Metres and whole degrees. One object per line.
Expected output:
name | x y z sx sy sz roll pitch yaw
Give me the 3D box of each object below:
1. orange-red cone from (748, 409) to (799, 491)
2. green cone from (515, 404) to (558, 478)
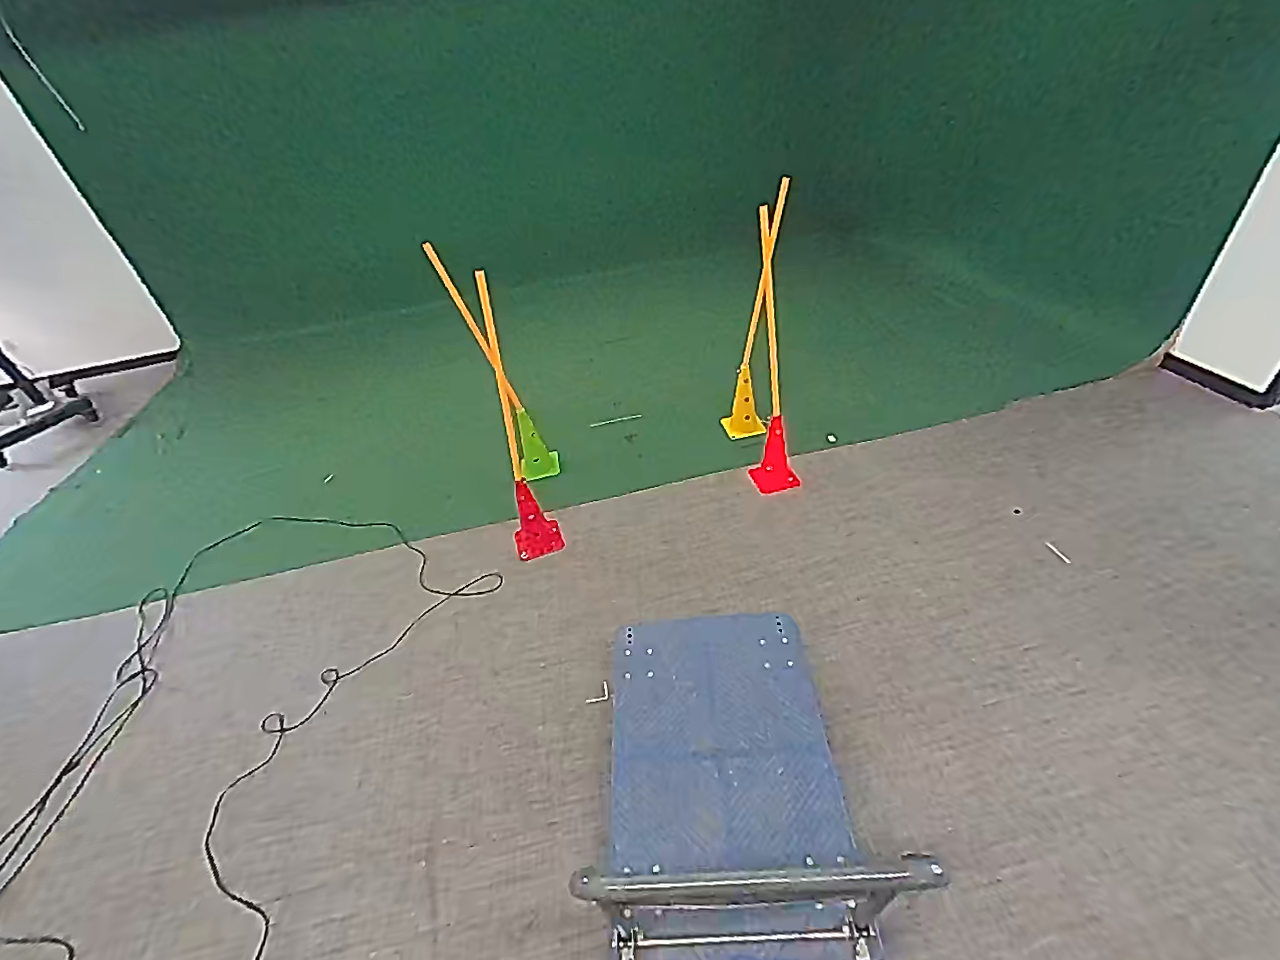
orange-red cone | 0.600 -0.154 2.414 0.198 0.360 0.199 -12 37 -5
green cone | -0.553 -0.216 2.703 0.200 0.368 0.202 -13 38 -4
